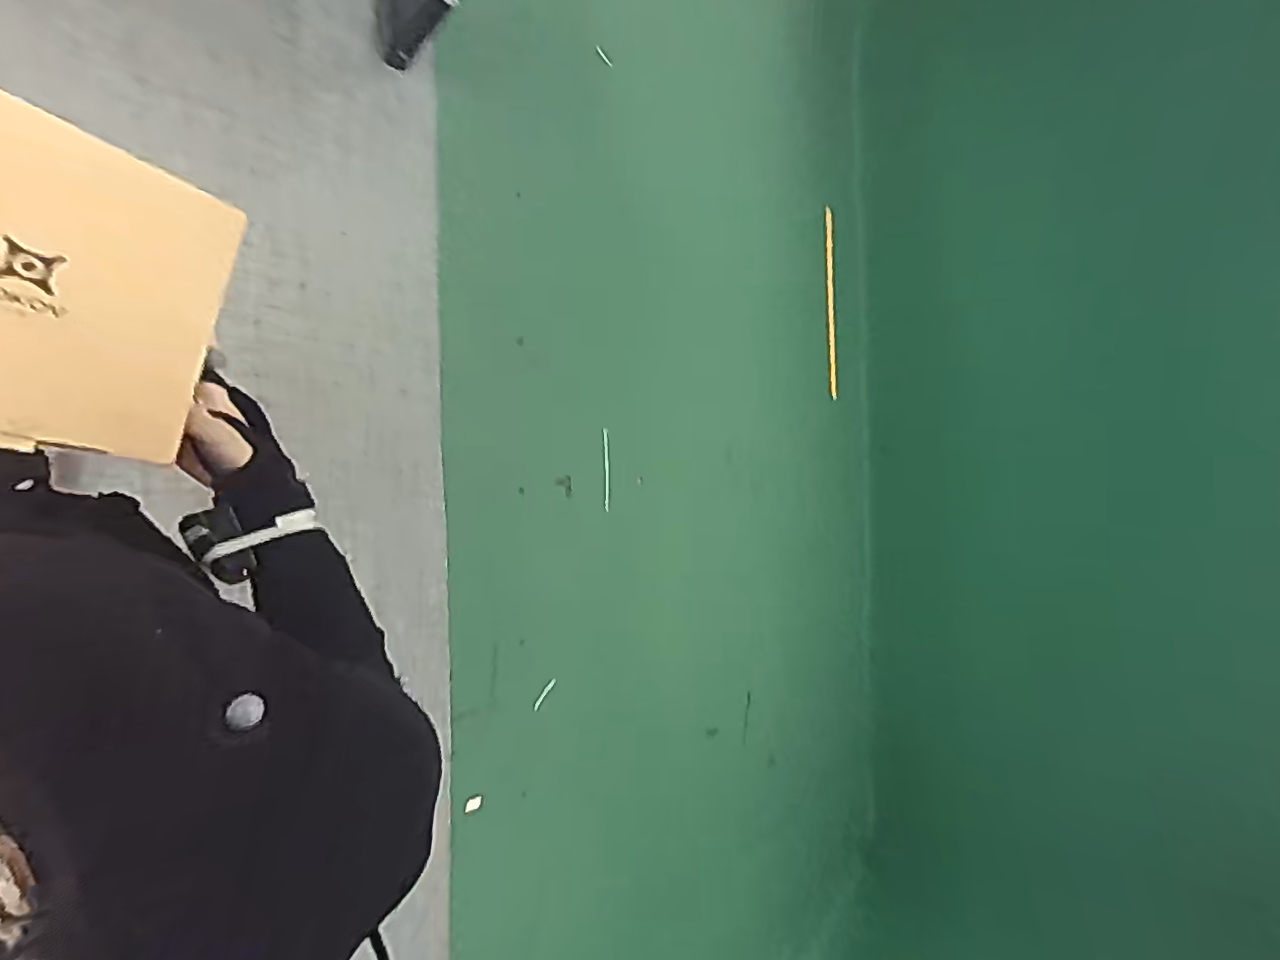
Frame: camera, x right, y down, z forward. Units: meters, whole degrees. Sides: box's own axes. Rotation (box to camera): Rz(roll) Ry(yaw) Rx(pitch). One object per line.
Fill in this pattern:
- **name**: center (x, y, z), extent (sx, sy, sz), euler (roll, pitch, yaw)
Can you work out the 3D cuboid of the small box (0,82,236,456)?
- **small box**: center (-0.398, -0.126, 0.339), extent (0.168, 0.176, 0.179), euler (20, 82, -52)
